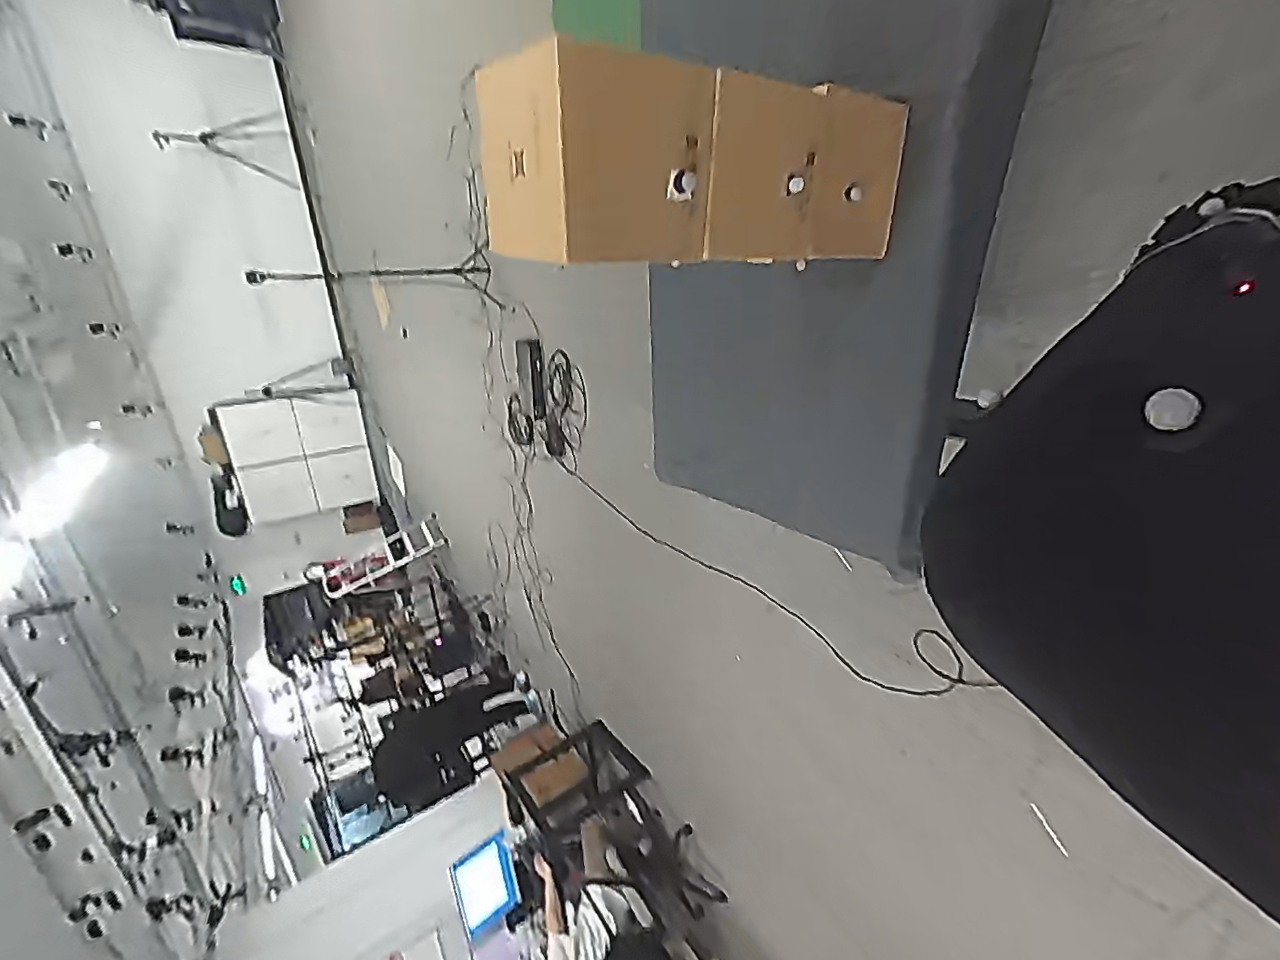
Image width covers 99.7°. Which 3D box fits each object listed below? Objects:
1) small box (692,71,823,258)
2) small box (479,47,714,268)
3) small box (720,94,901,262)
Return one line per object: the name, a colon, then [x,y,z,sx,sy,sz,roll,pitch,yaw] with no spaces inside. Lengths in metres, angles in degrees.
small box: [0.086,-0.355,0.644,0.179,0.176,0.168,30,127,50]
small box: [-0.047,-0.316,0.560,0.179,0.176,0.168,30,130,46]
small box: [0.222,-0.393,0.727,0.168,0.176,0.179,28,127,49]
